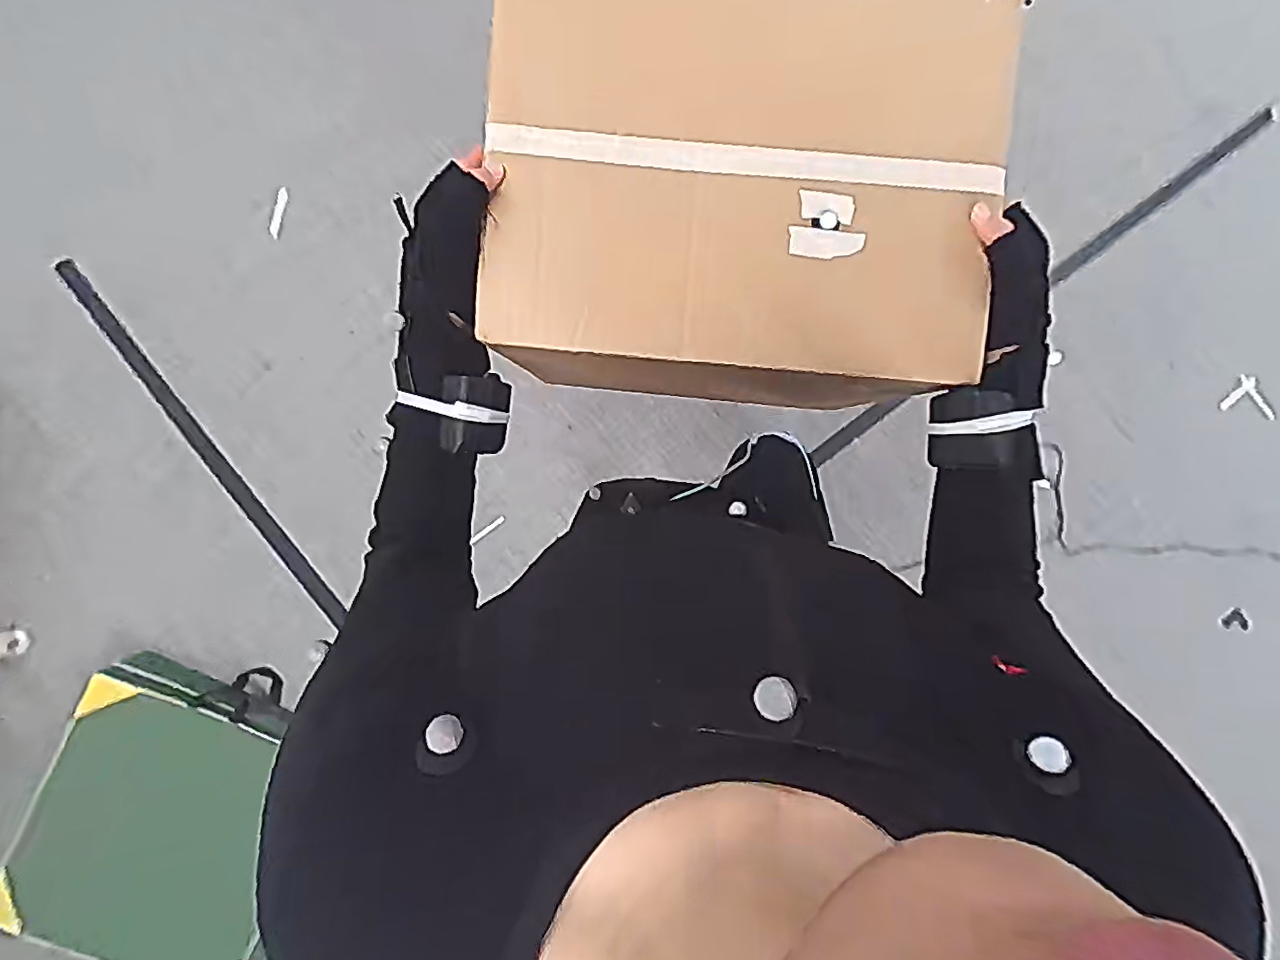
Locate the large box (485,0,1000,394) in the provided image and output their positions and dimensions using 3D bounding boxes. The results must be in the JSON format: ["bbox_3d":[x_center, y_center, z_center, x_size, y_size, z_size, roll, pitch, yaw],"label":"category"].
[{"bbox_3d":[0.075,-0.270,0.580,0.408,0.320,0.320,4,95,-1],"label":"large box"}]
